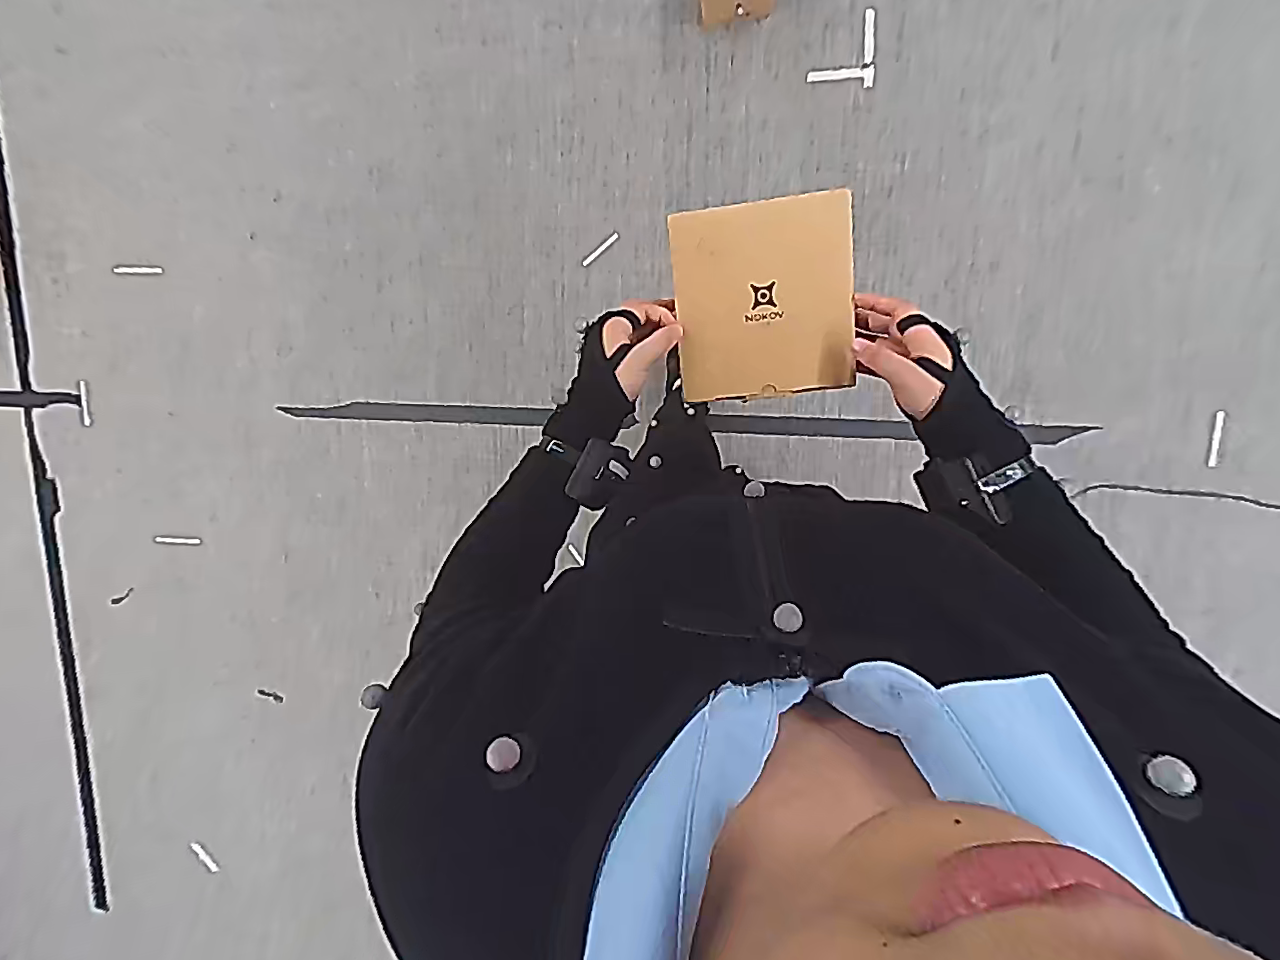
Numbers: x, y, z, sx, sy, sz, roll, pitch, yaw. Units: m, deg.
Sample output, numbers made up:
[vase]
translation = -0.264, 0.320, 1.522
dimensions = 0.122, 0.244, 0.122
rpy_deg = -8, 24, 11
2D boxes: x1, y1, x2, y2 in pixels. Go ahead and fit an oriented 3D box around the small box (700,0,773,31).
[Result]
[small box]
translation = 0.216, -1.193, 1.238
dimensions = 0.168, 0.176, 0.179
rpy_deg = -10, 96, 7
